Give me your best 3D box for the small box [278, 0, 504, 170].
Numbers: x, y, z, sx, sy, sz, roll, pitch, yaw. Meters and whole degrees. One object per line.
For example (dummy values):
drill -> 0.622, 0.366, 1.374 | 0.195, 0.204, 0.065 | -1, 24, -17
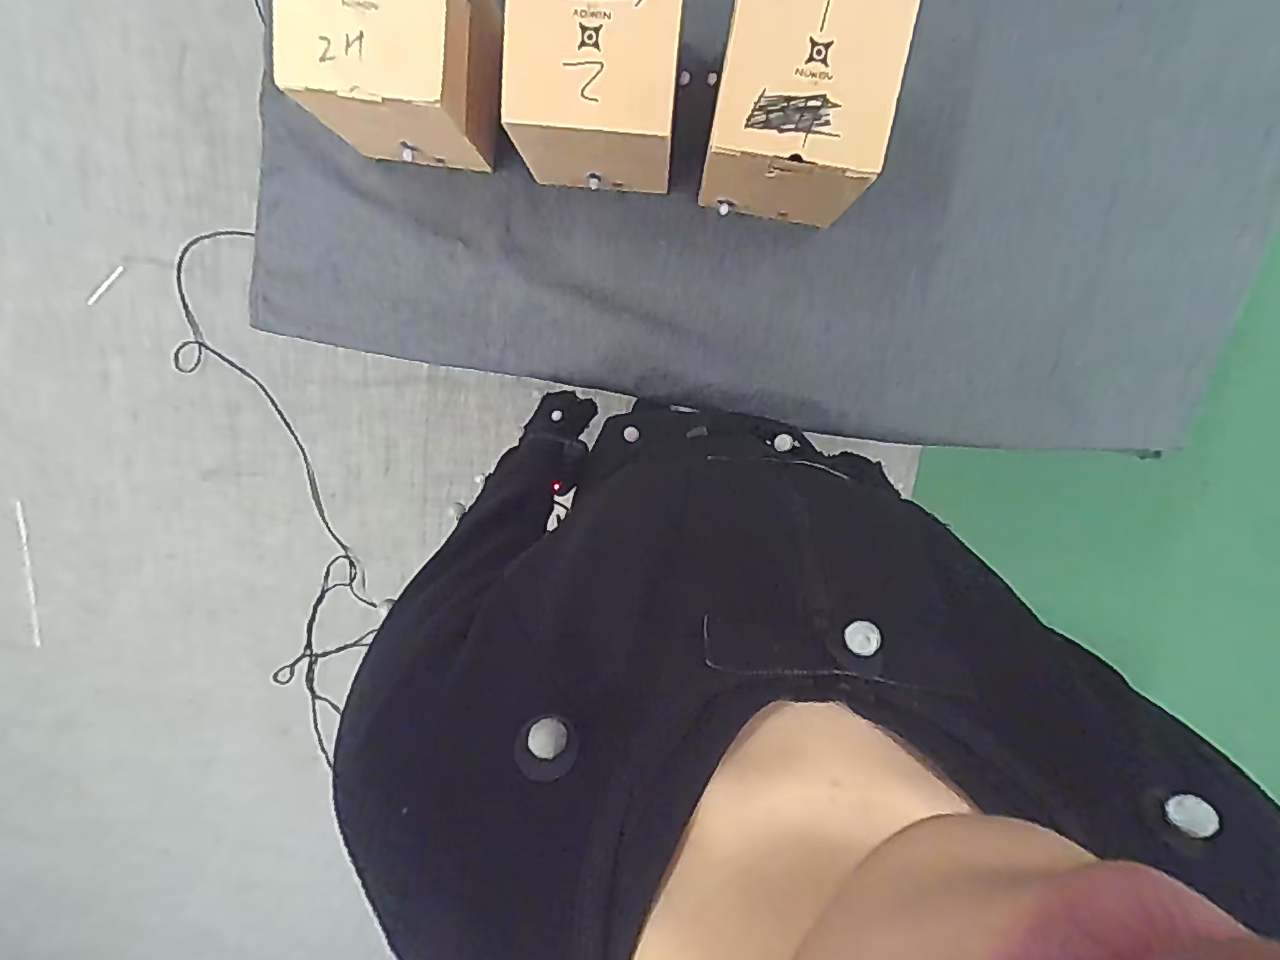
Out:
small box -> -0.253, -0.469, 0.584 | 0.168, 0.176, 0.179 | 8, 100, 1
